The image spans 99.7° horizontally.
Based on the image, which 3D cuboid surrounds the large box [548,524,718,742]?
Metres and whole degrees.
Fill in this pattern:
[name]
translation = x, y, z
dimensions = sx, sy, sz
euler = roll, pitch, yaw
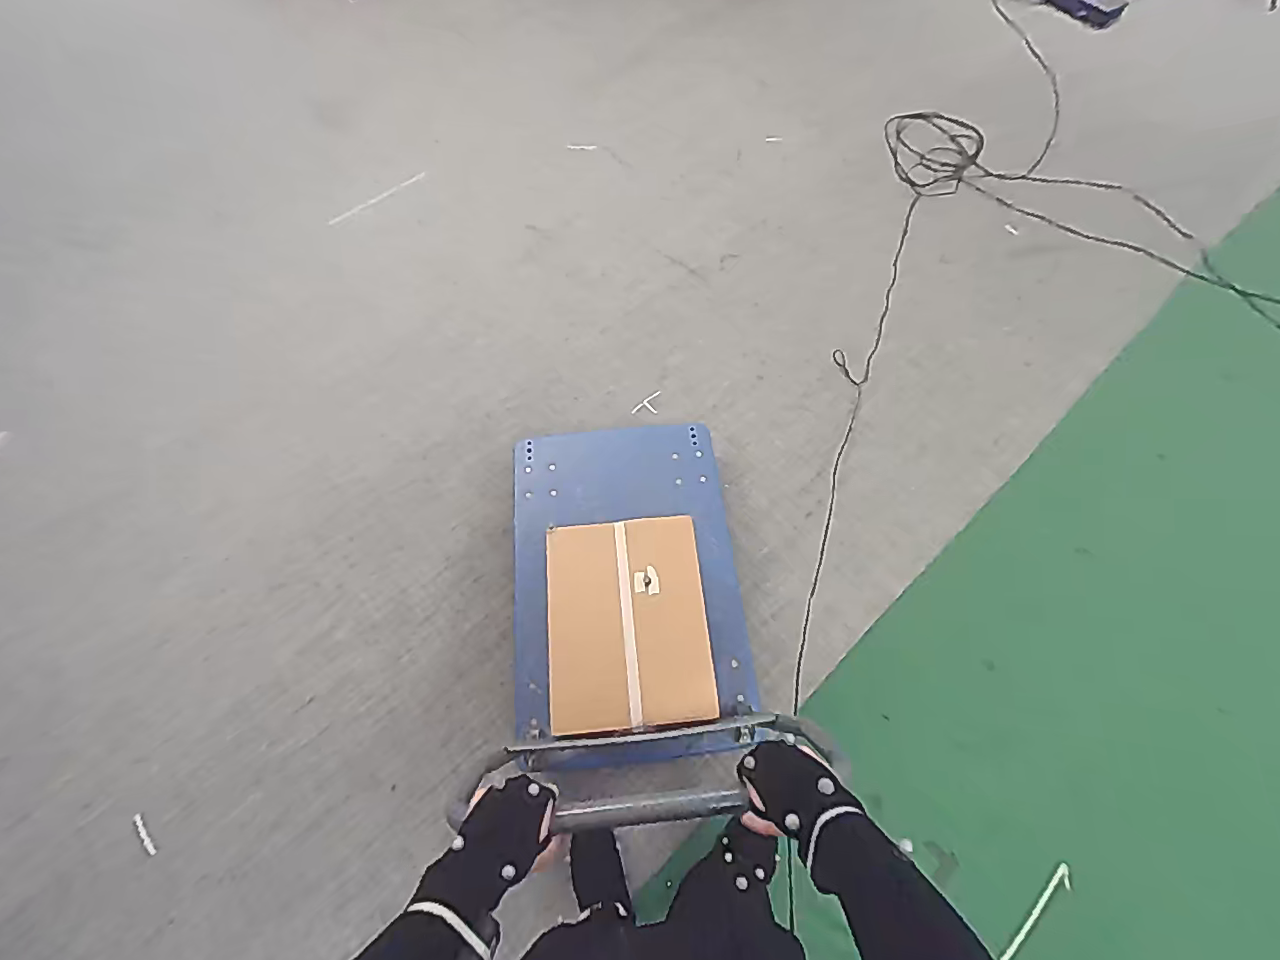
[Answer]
[large box]
translation = -0.023, 0.353, 1.220
dimensions = 0.320, 0.320, 0.408
euler = -5, 63, -2
